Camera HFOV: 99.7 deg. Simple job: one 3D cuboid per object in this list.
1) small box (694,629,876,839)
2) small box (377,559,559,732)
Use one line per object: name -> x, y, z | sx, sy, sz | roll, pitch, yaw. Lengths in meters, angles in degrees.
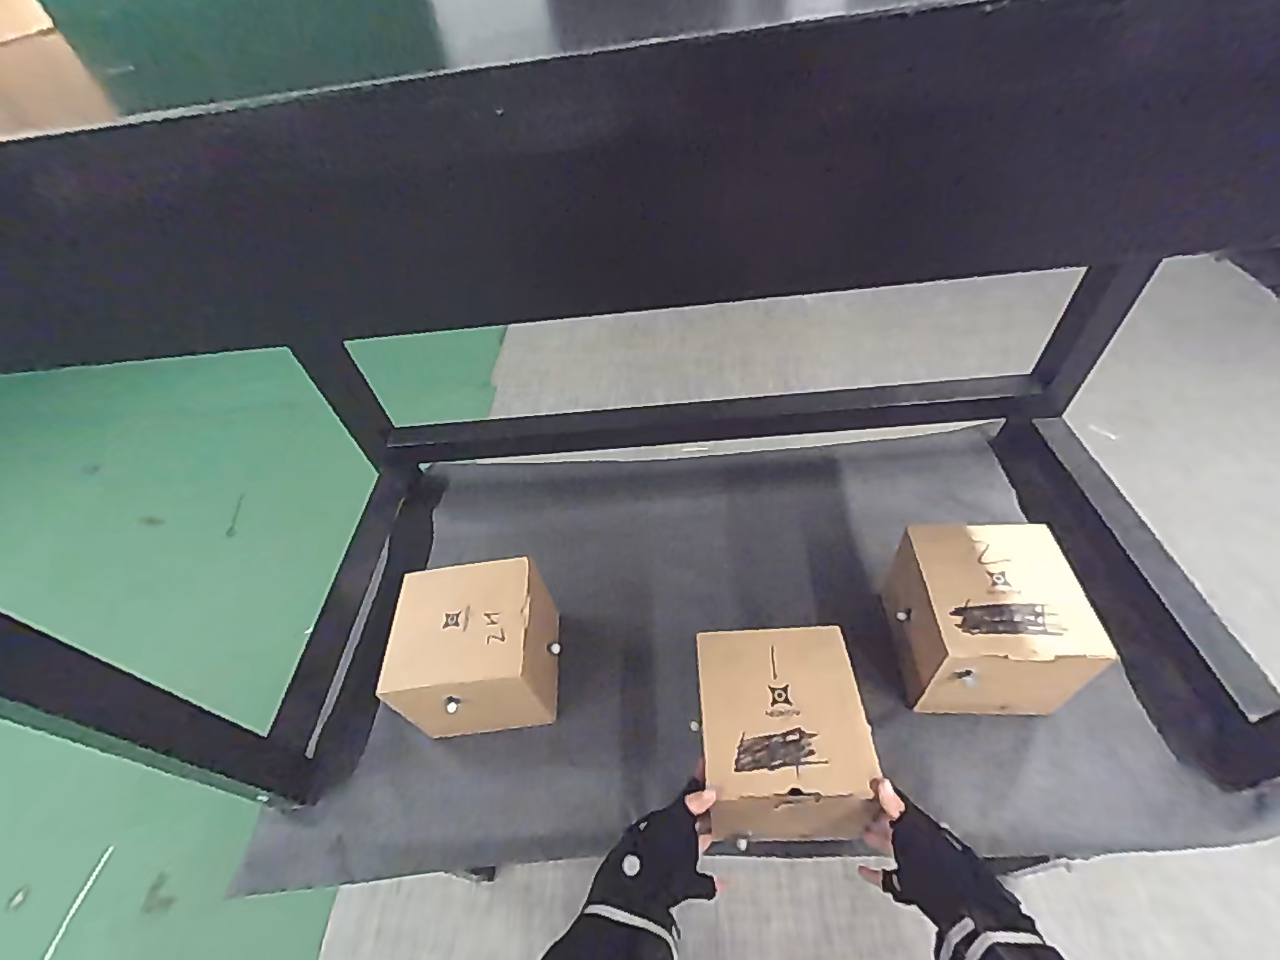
small box -> 0.151, 0.293, 0.619 | 0.168, 0.176, 0.179 | -4, 43, 5
small box -> -0.218, 0.230, 0.739 | 0.179, 0.176, 0.168 | -7, 48, 2
